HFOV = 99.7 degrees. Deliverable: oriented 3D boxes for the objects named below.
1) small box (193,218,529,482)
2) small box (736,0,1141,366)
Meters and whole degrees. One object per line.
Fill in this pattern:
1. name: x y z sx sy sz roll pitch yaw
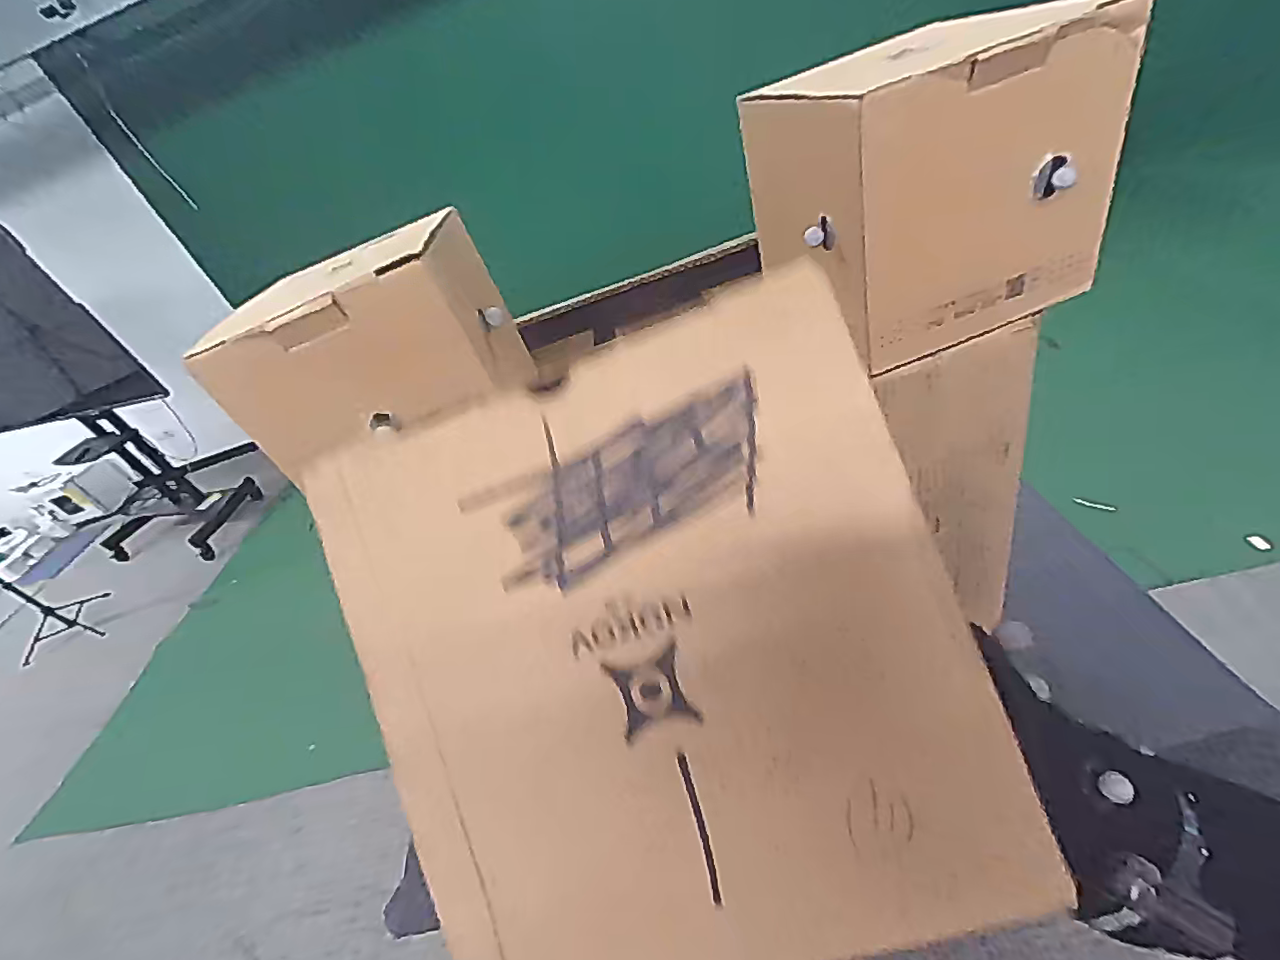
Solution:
1. small box: -0.187 -0.081 0.439 0.168 0.176 0.179 -21 36 4
2. small box: 0.189 -0.200 0.392 0.168 0.176 0.179 -21 35 -1
